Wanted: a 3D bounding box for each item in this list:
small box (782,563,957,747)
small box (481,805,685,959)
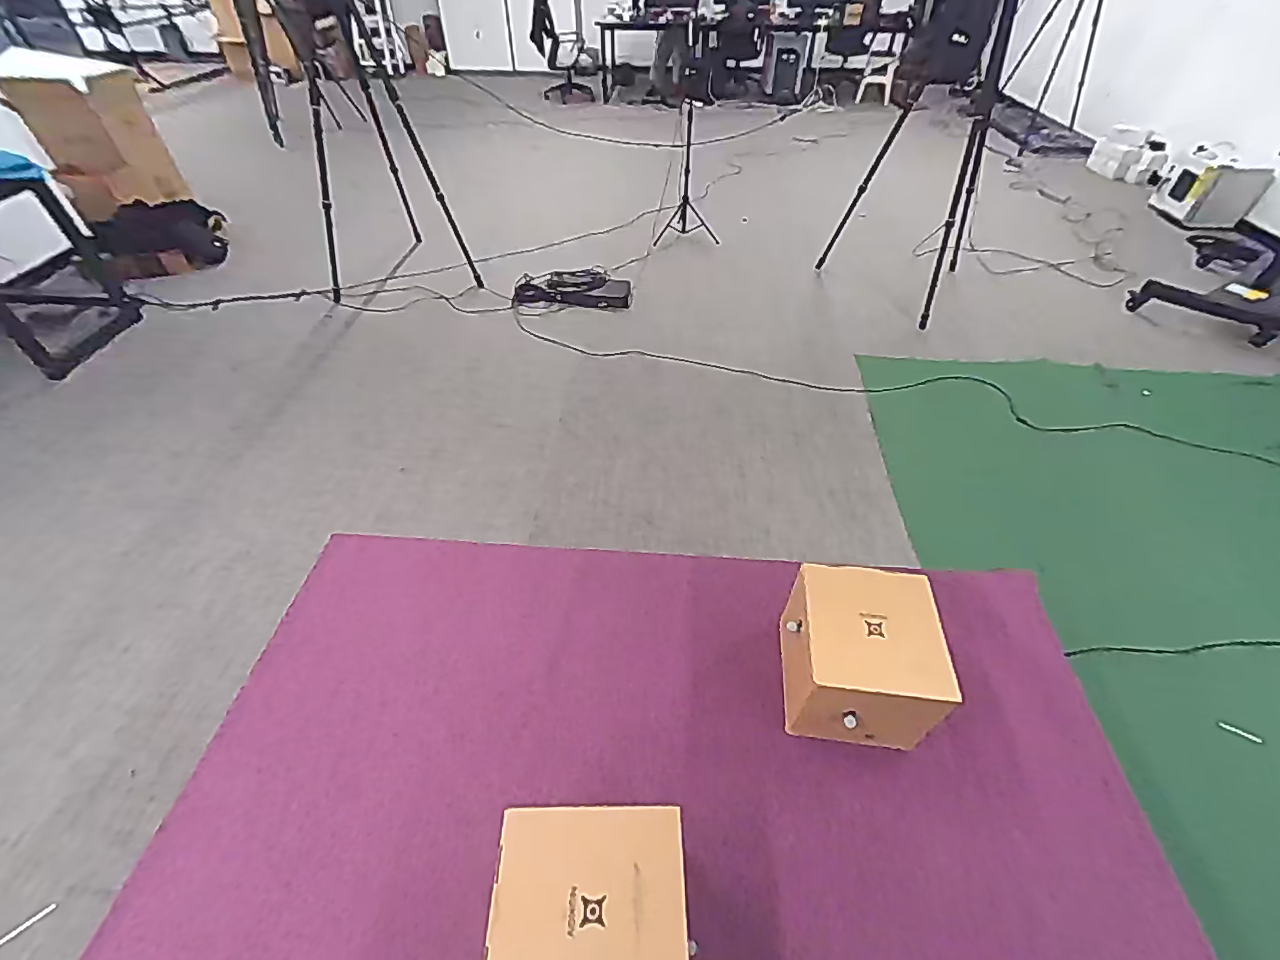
[{"bbox_3d":[0.290,0.237,0.729,0.168,0.176,0.179,5,45,6],"label":"small box"},{"bbox_3d":[-0.047,0.437,0.535,0.179,0.176,0.168,0,46,0],"label":"small box"}]
